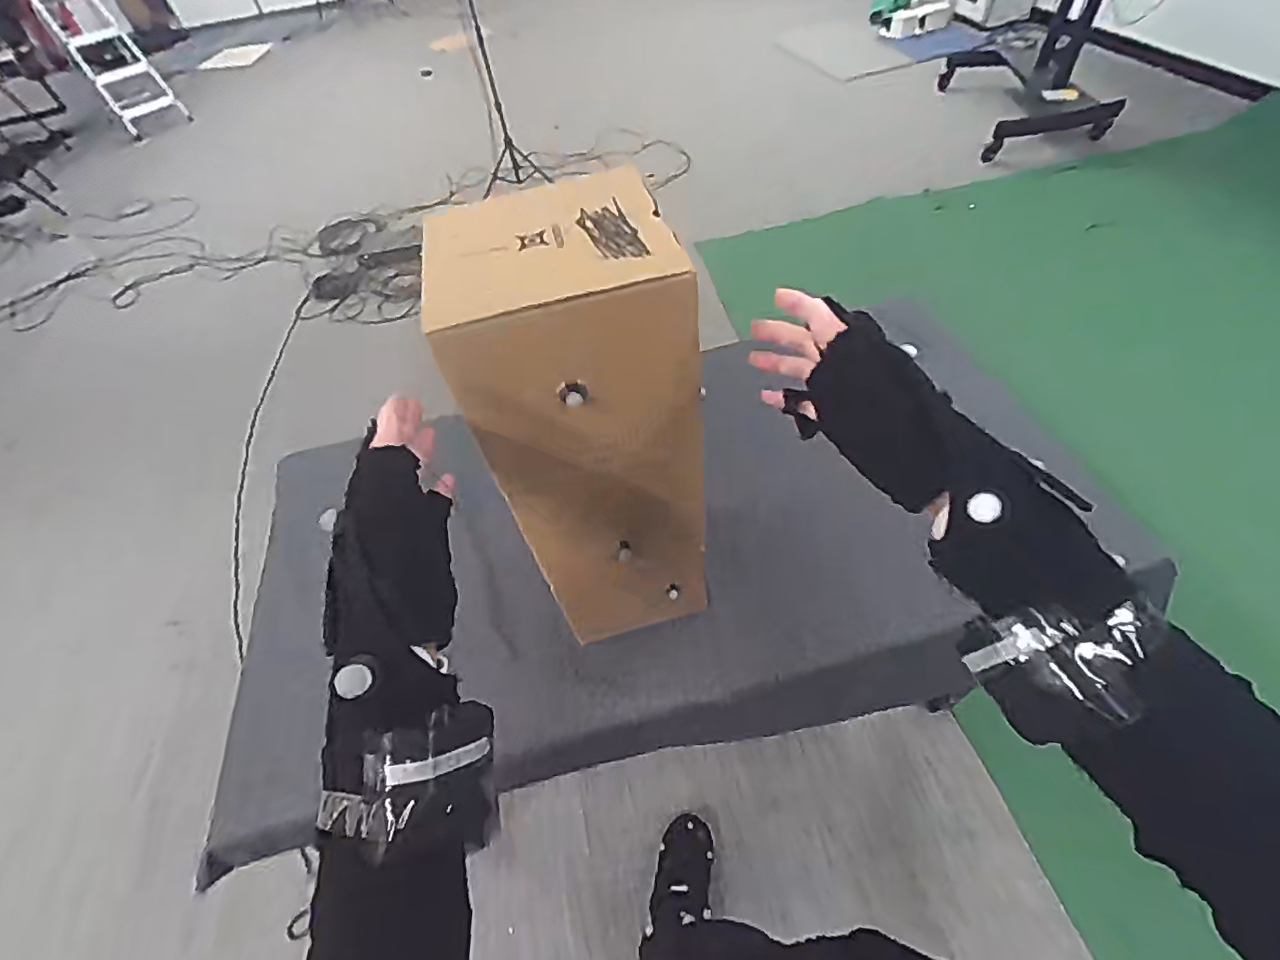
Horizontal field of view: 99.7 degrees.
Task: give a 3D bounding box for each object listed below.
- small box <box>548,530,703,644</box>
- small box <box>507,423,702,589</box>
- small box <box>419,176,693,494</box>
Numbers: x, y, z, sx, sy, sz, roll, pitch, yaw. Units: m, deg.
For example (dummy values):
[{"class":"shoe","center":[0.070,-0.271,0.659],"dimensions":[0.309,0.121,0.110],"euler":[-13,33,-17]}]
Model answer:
[{"class":"small box","center":[-0.025,0.089,0.702],"dimensions":[0.179,0.176,0.168],"euler":[-16,51,-4]},{"class":"small box","center":[-0.043,-0.010,0.576],"dimensions":[0.179,0.176,0.168],"euler":[-17,53,-5]},{"class":"small box","center":[-0.060,-0.114,0.446],"dimensions":[0.179,0.176,0.168],"euler":[-15,51,-3]}]
